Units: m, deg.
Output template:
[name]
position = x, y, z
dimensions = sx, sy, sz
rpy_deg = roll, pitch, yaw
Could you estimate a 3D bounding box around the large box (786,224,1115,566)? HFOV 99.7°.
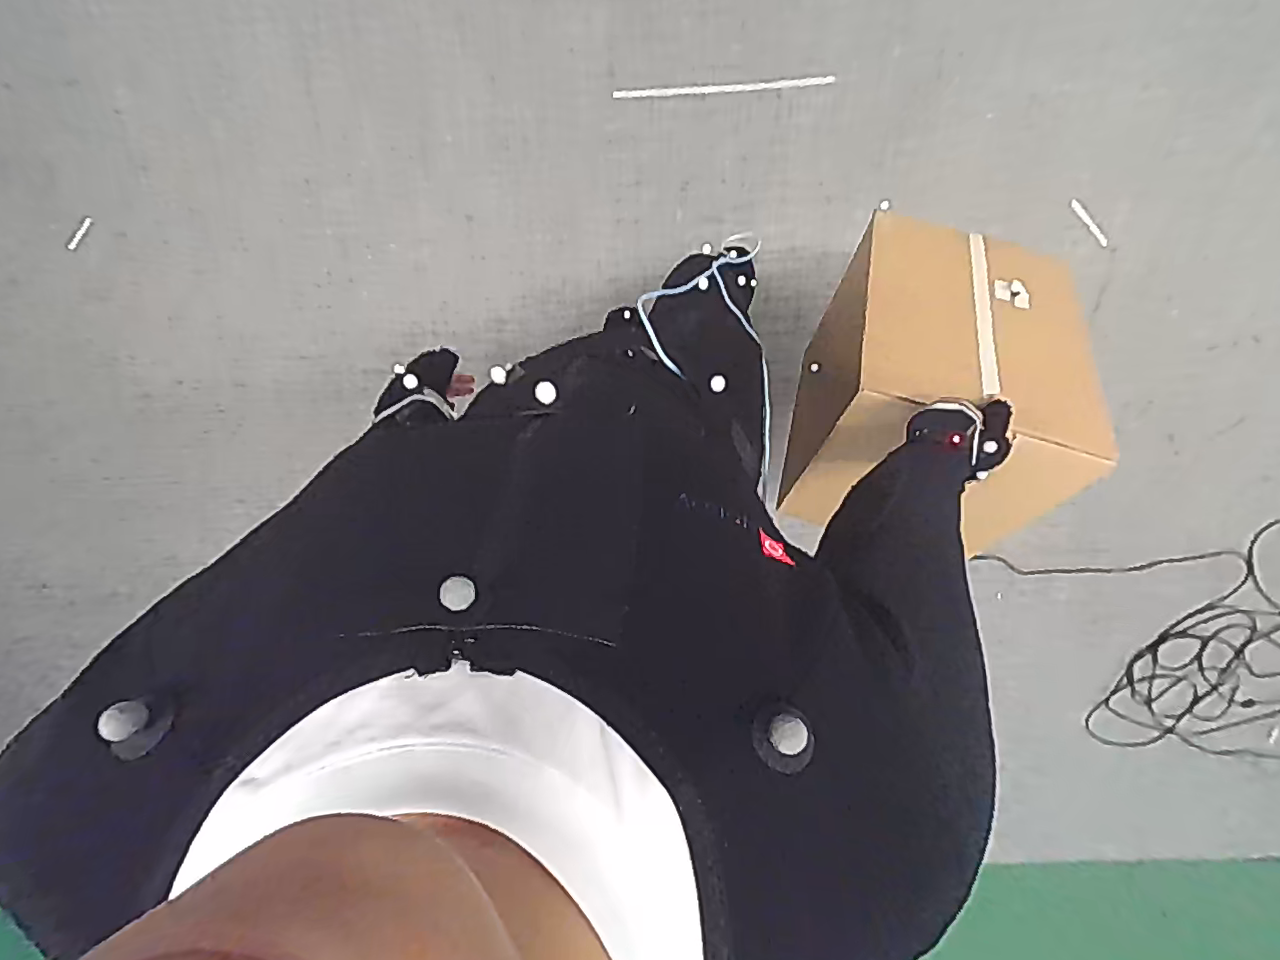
[large box]
position = 0.451, -0.131, 0.874
dimensions = 0.320, 0.408, 0.320
rpy_deg = 18, 147, 3
